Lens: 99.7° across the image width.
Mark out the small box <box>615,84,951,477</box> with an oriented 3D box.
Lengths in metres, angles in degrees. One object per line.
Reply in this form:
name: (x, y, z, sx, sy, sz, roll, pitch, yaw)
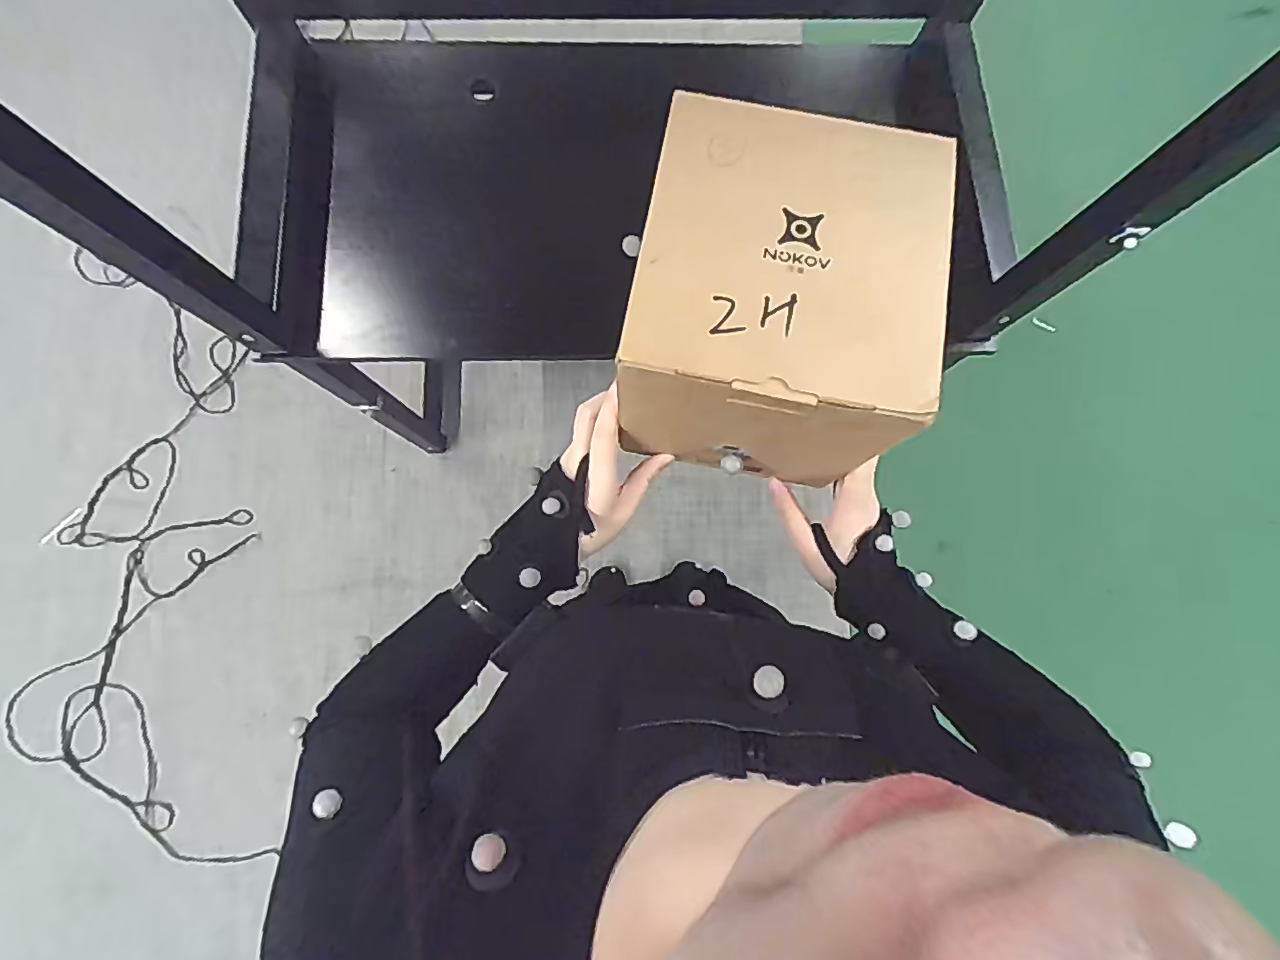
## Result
small box: (0.082, -0.116, 0.373, 0.168, 0.176, 0.179, 12, 78, 3)
